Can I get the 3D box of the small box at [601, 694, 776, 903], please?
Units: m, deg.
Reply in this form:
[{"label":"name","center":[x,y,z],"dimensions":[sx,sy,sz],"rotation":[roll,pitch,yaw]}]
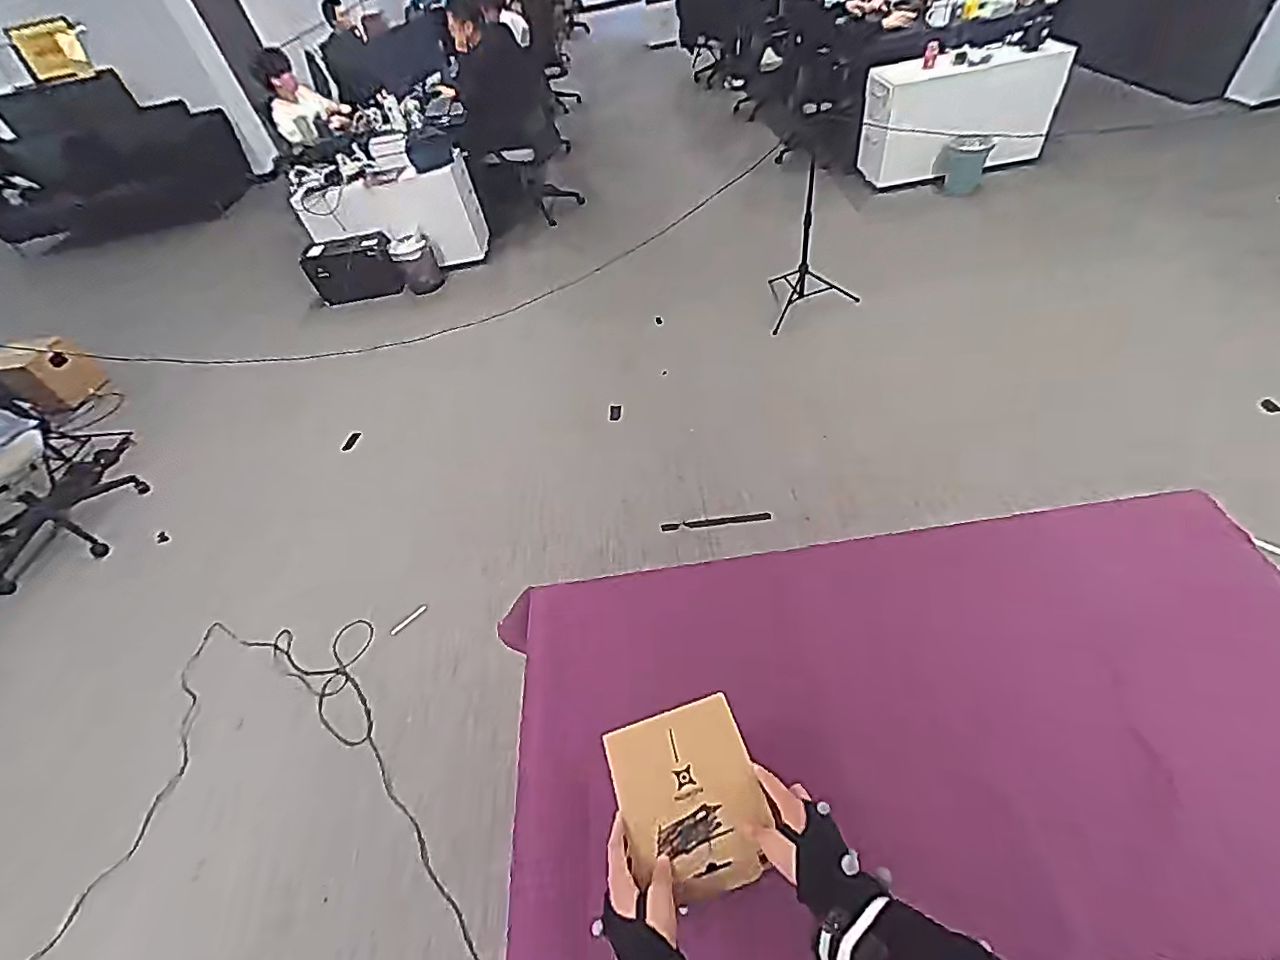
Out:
[{"label":"small box","center":[0.062,0.411,0.691],"dimensions":[0.168,0.176,0.179],"rotation":[-18,46,-5]}]
